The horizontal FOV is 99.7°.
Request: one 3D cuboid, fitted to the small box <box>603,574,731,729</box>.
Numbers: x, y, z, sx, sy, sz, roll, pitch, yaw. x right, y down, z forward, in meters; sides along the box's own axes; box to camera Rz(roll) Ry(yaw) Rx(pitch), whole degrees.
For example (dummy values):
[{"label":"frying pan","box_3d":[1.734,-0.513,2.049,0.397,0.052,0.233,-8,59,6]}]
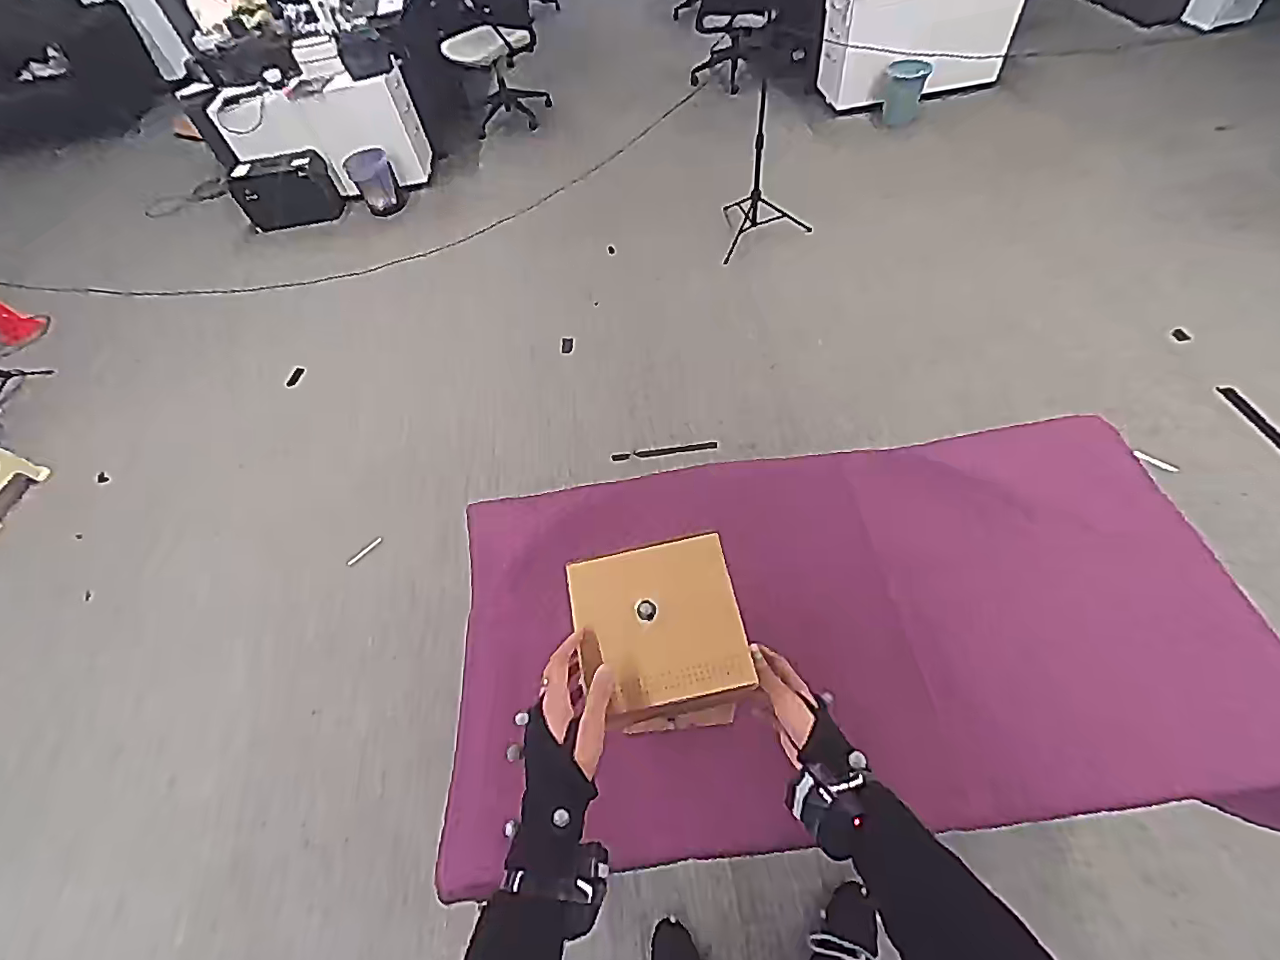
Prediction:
[{"label":"small box","box_3d":[0.040,0.259,0.795,0.168,0.176,0.179,-6,54,2]}]
